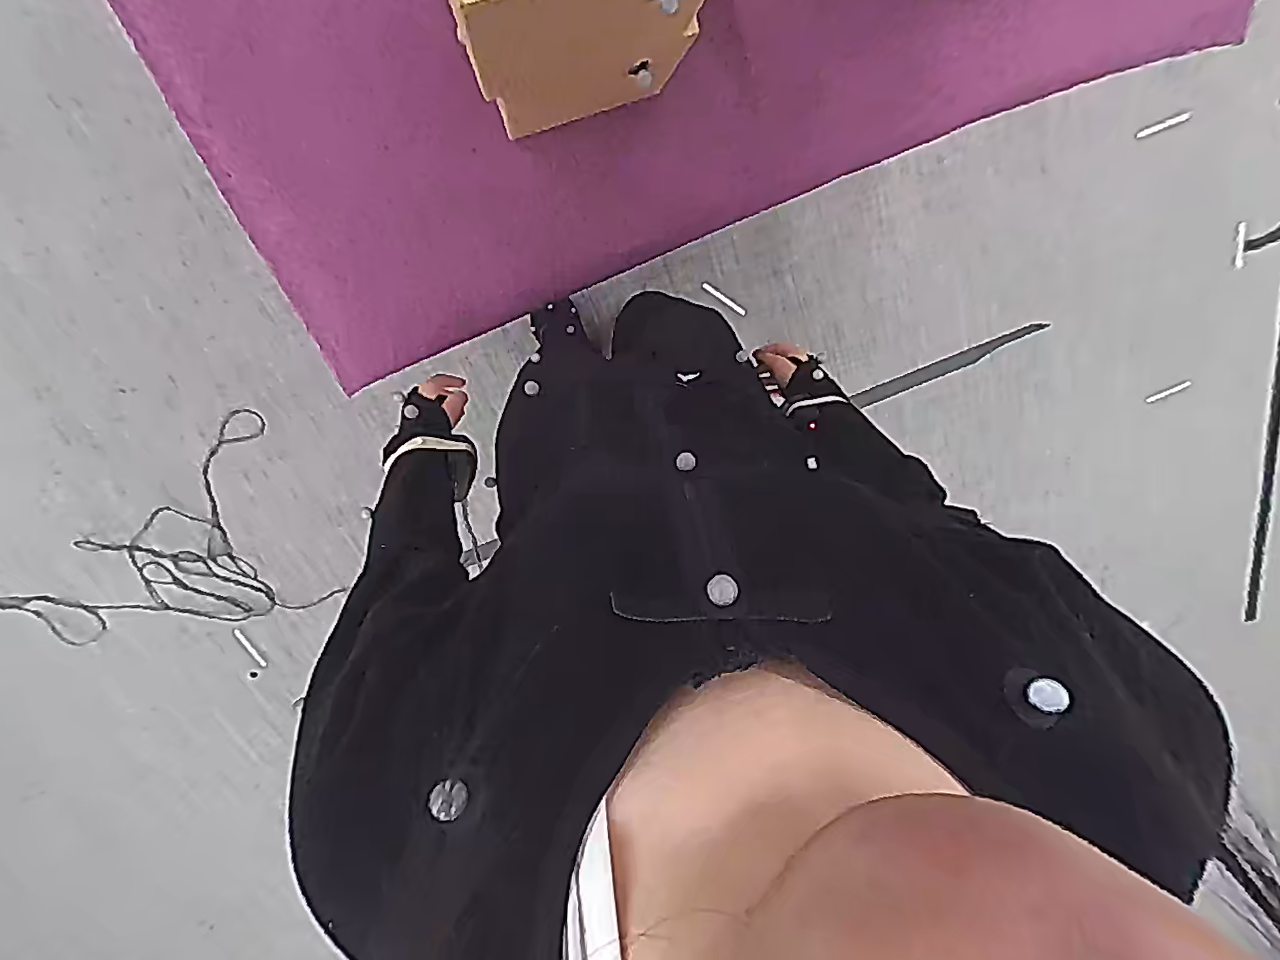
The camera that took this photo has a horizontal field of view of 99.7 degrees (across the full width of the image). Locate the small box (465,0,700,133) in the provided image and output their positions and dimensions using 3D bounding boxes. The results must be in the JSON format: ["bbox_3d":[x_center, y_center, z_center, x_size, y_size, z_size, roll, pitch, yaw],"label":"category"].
[{"bbox_3d":[-0.067,-0.443,0.486,0.179,0.176,0.168,-19,112,-2],"label":"small box"}]
